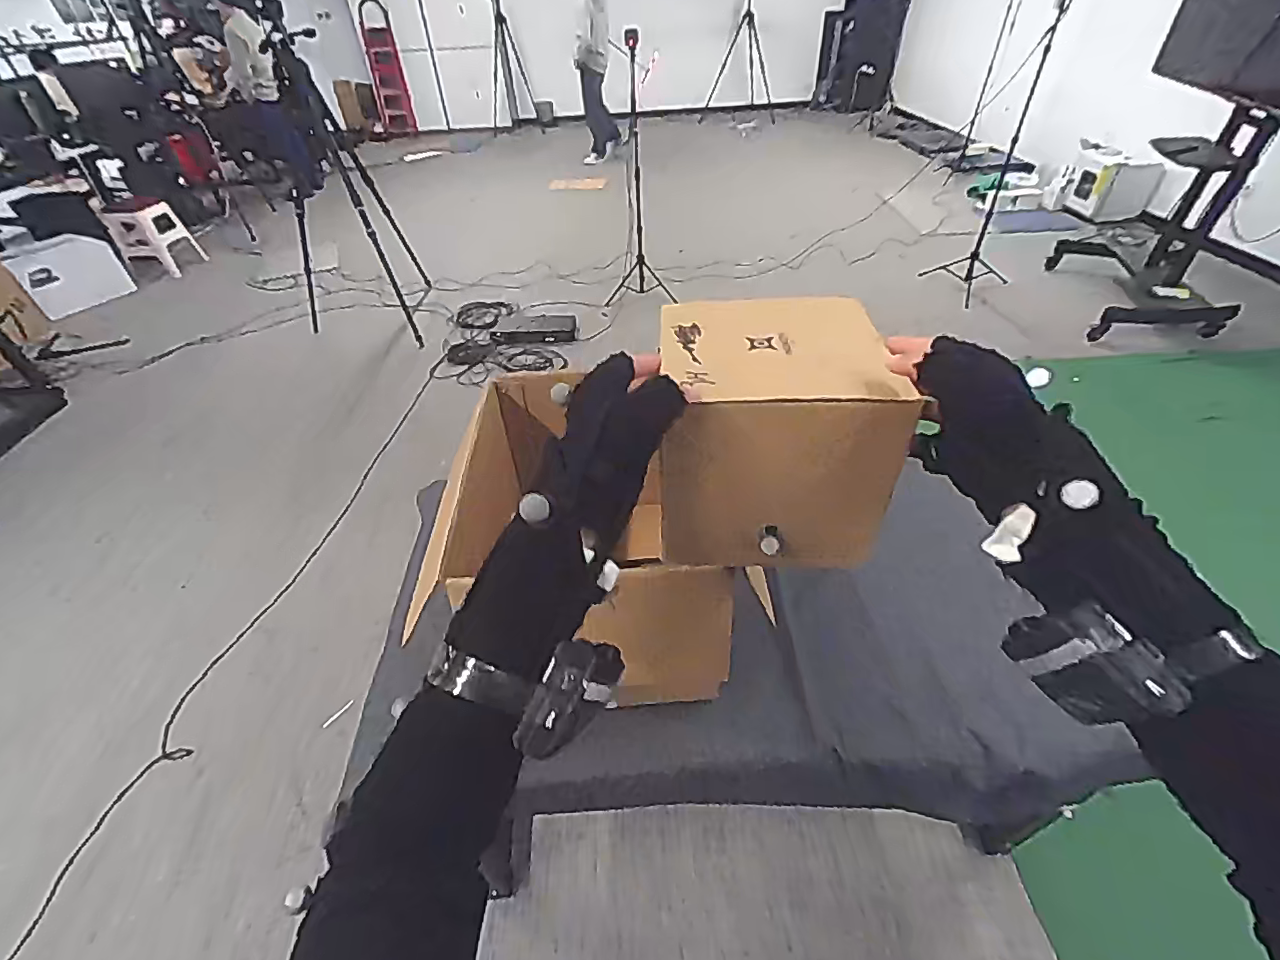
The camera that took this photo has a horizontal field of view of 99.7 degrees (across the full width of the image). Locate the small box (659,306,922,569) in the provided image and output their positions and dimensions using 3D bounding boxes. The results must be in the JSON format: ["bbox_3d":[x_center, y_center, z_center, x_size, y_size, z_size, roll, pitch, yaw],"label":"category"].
[{"bbox_3d":[0.108,-0.037,0.474,0.179,0.176,0.168,1,41,3],"label":"small box"}]
